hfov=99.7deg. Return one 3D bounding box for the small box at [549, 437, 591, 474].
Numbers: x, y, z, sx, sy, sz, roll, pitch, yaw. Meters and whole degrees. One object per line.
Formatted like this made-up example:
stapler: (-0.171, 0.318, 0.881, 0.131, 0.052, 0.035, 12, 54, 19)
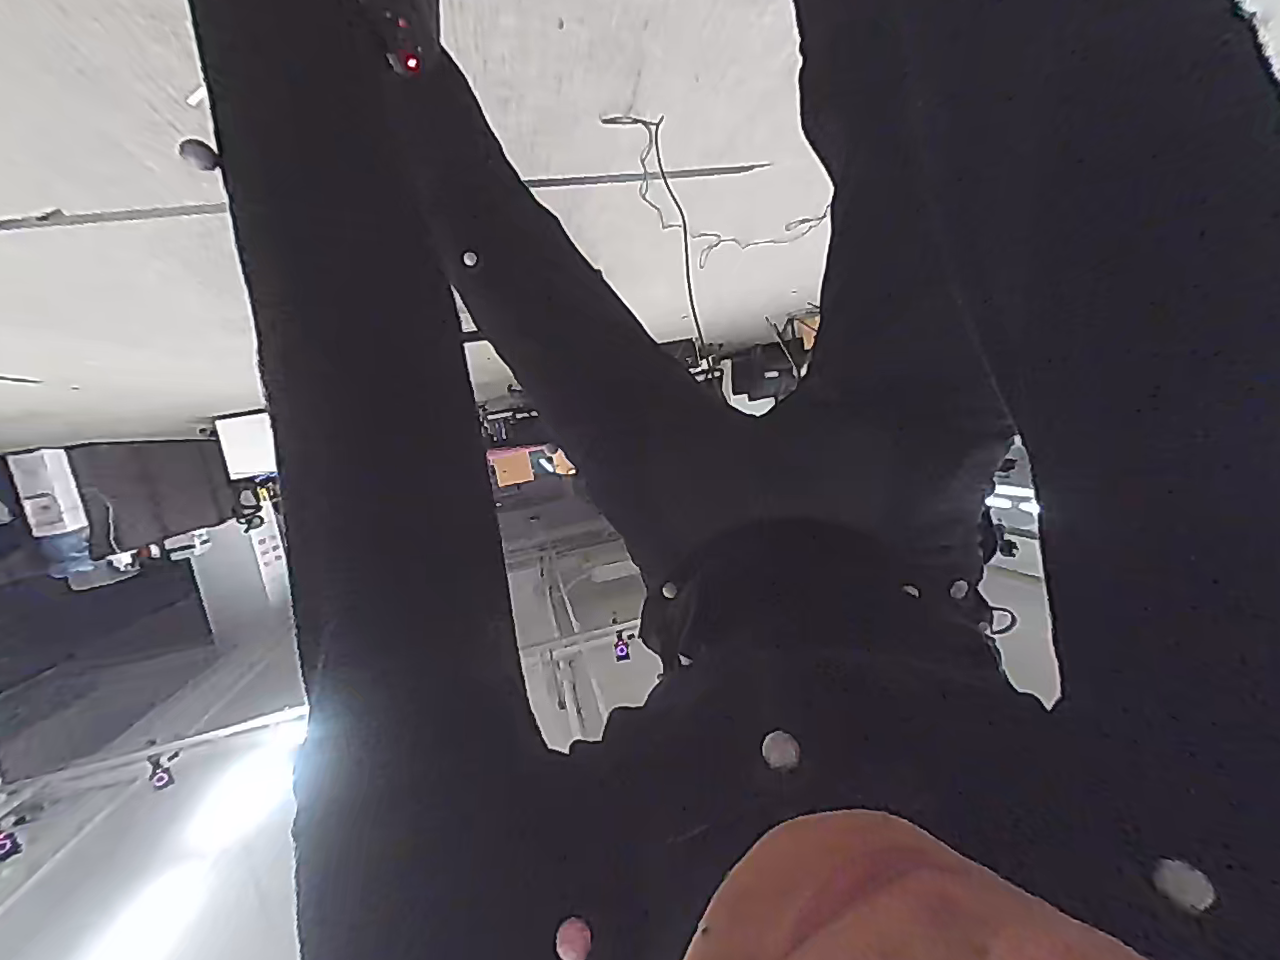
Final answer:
small box: (-0.370, -0.131, 2.832, 0.168, 0.176, 0.179, -12, -172, -19)
